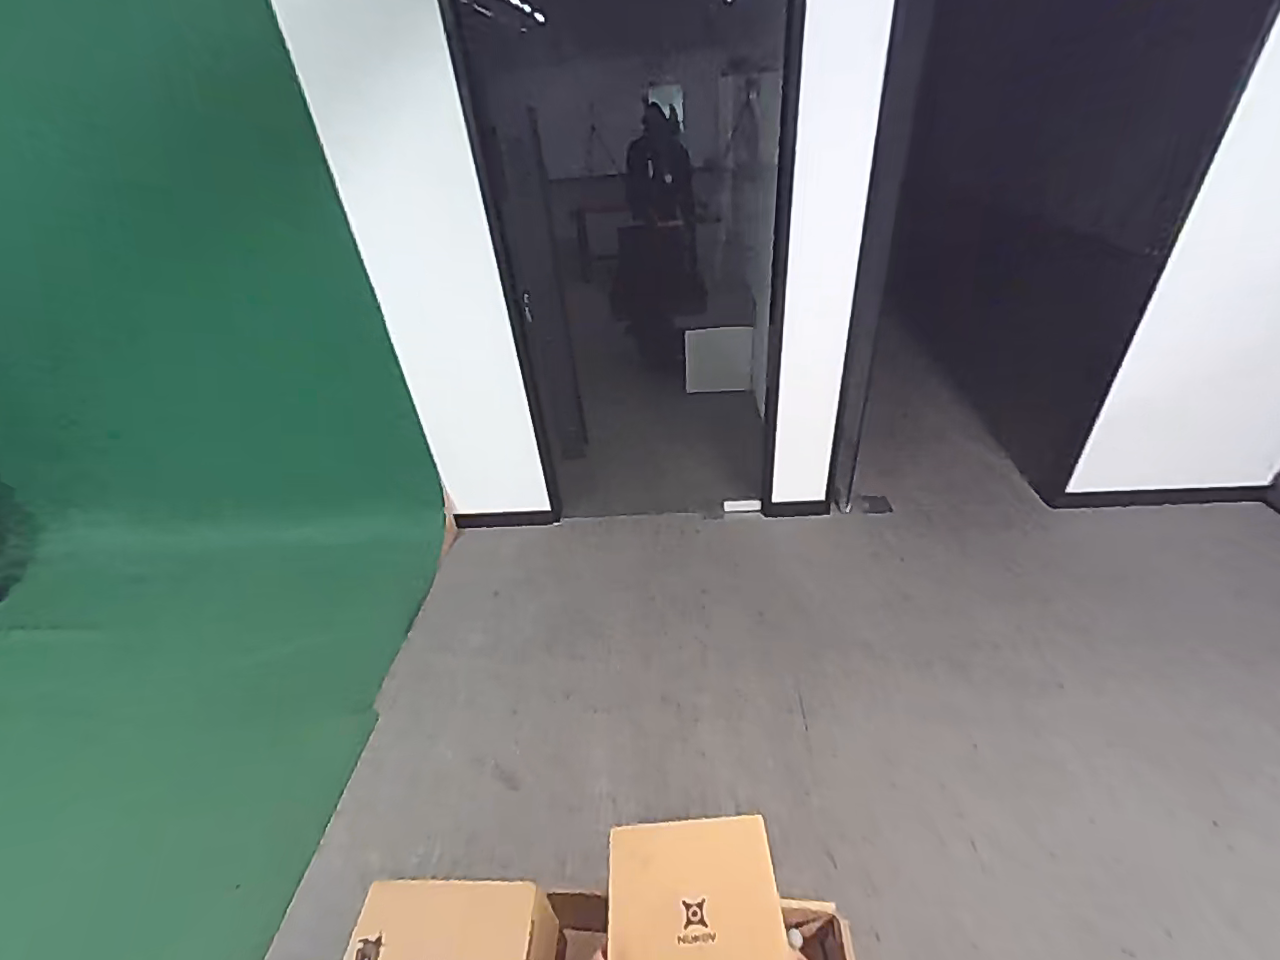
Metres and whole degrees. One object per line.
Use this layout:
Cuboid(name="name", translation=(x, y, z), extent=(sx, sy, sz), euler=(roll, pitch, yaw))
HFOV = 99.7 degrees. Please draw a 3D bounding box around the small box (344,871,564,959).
Cuboid(name="small box", translation=(-0.177, 0.505, 0.517), extent=(0.179, 0.176, 0.168), euler=(-2, 34, 5))
